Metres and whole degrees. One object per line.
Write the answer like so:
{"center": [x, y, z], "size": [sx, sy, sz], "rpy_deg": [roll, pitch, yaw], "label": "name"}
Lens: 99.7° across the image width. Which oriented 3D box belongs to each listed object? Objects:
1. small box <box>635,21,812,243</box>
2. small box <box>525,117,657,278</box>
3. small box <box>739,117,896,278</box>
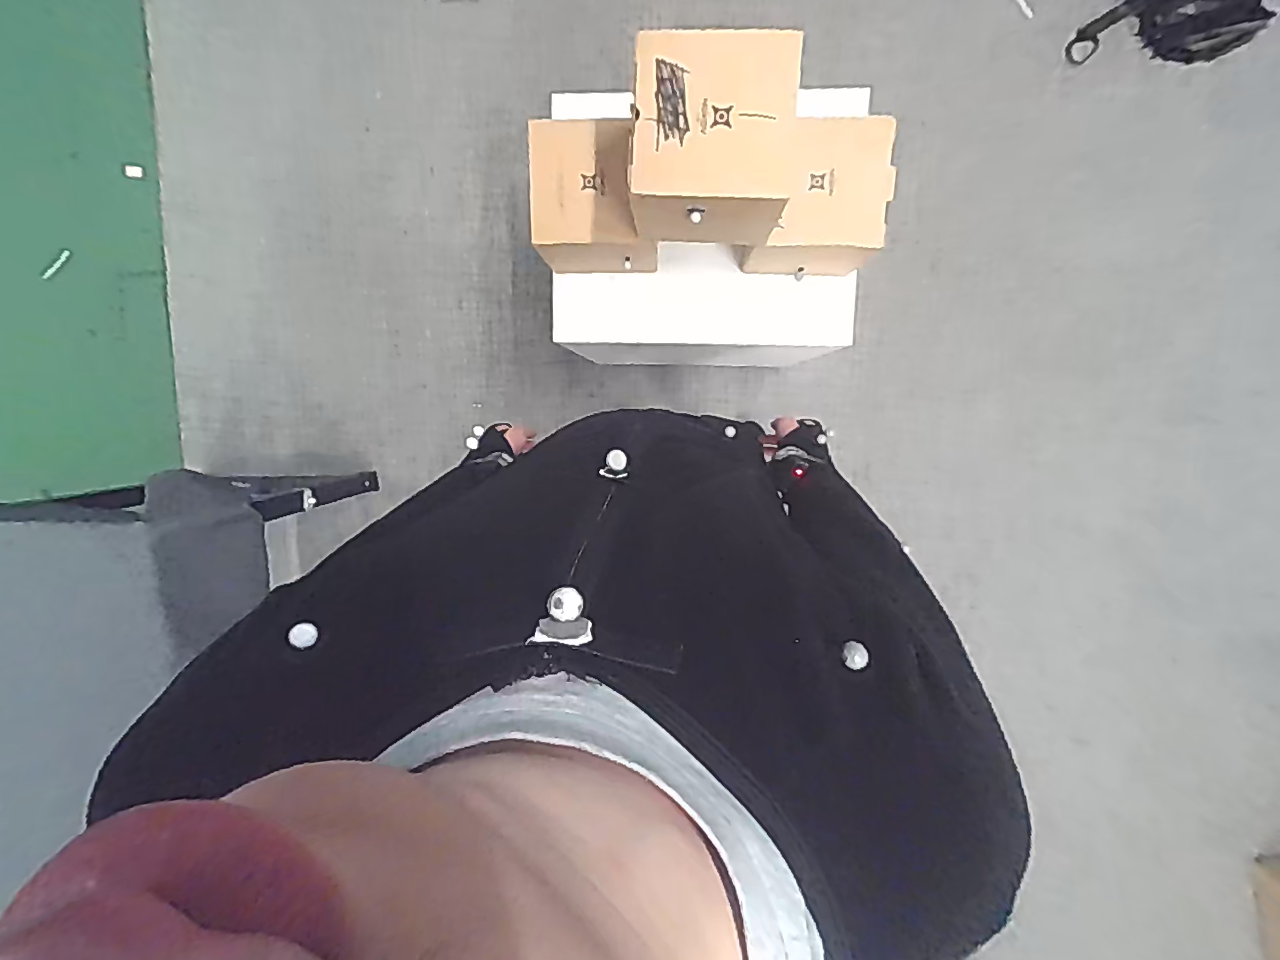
{"center": [0.087, -0.390, 0.636], "size": [0.179, 0.176, 0.168], "rpy_deg": [2, 97, 1], "label": "small box"}
{"center": [-0.065, -0.406, 0.803], "size": [0.179, 0.176, 0.168], "rpy_deg": [-1, 96, 2], "label": "small box"}
{"center": [0.248, -0.403, 0.796], "size": [0.179, 0.176, 0.168], "rpy_deg": [2, 97, 3], "label": "small box"}
